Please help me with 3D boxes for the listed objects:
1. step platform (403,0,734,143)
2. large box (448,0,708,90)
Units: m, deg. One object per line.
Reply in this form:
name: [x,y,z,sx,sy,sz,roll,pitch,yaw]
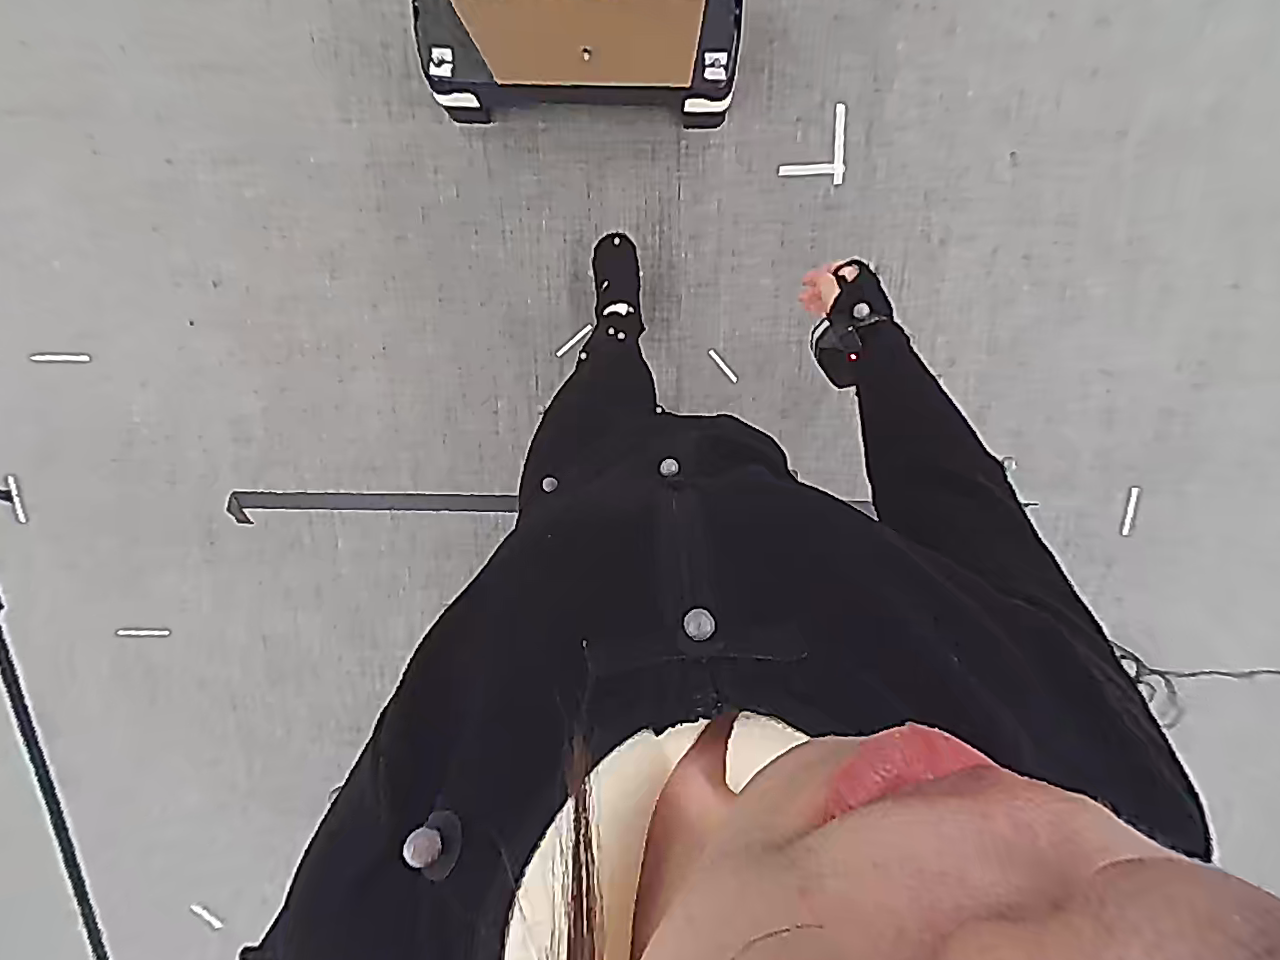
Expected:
step platform: [-0.145,-0.952,1.165,0.684,0.204,0.286,6,104,0]
large box: [-0.093,-0.913,0.929,0.408,0.320,0.320,0,103,1]
